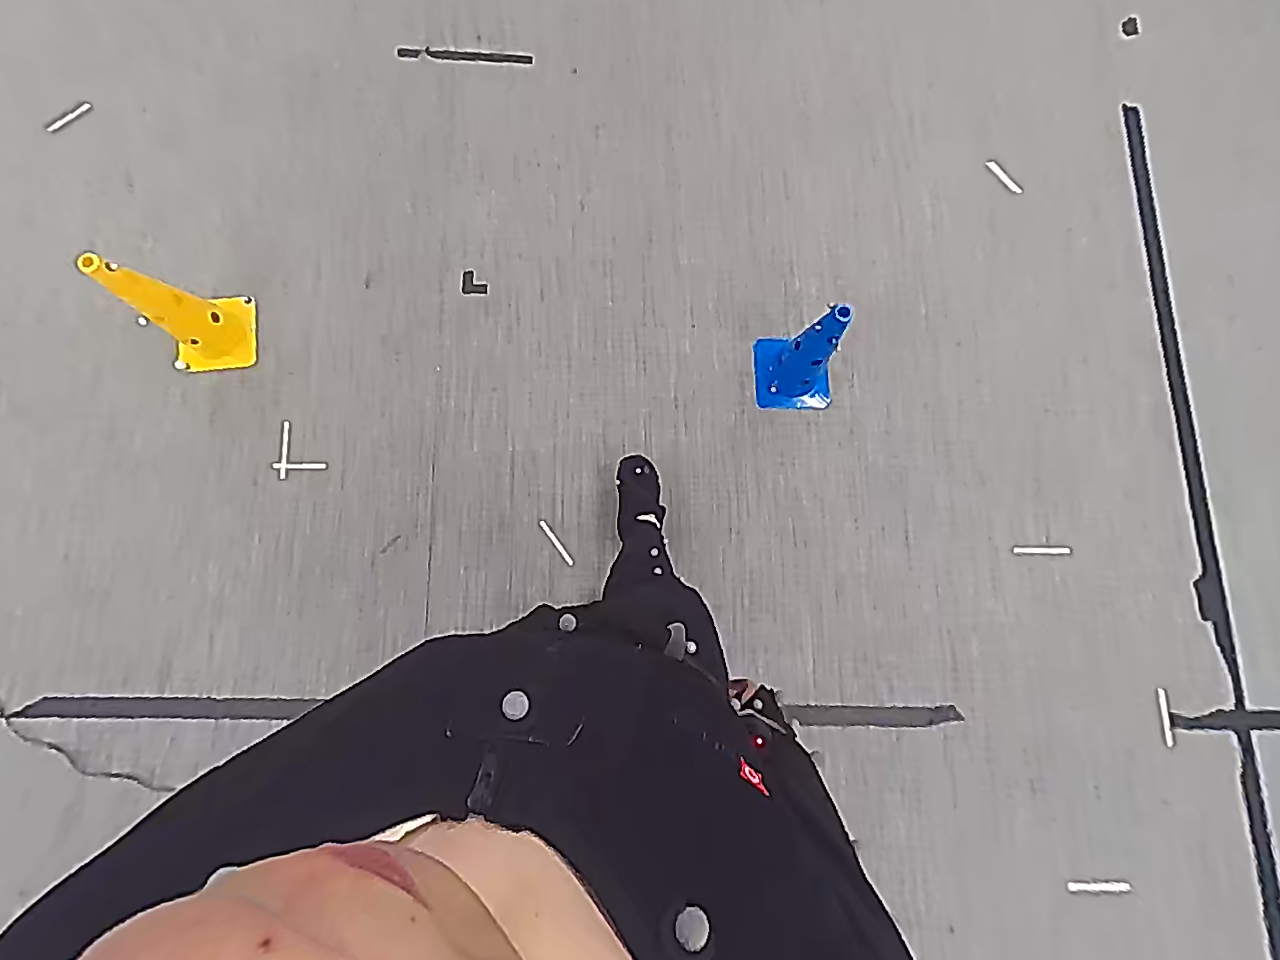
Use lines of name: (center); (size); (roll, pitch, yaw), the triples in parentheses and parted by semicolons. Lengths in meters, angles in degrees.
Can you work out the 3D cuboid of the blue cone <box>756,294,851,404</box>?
blue cone: (0.414, -0.323, 1.289); (0.193, 0.380, 0.192); (1, 80, -1)
